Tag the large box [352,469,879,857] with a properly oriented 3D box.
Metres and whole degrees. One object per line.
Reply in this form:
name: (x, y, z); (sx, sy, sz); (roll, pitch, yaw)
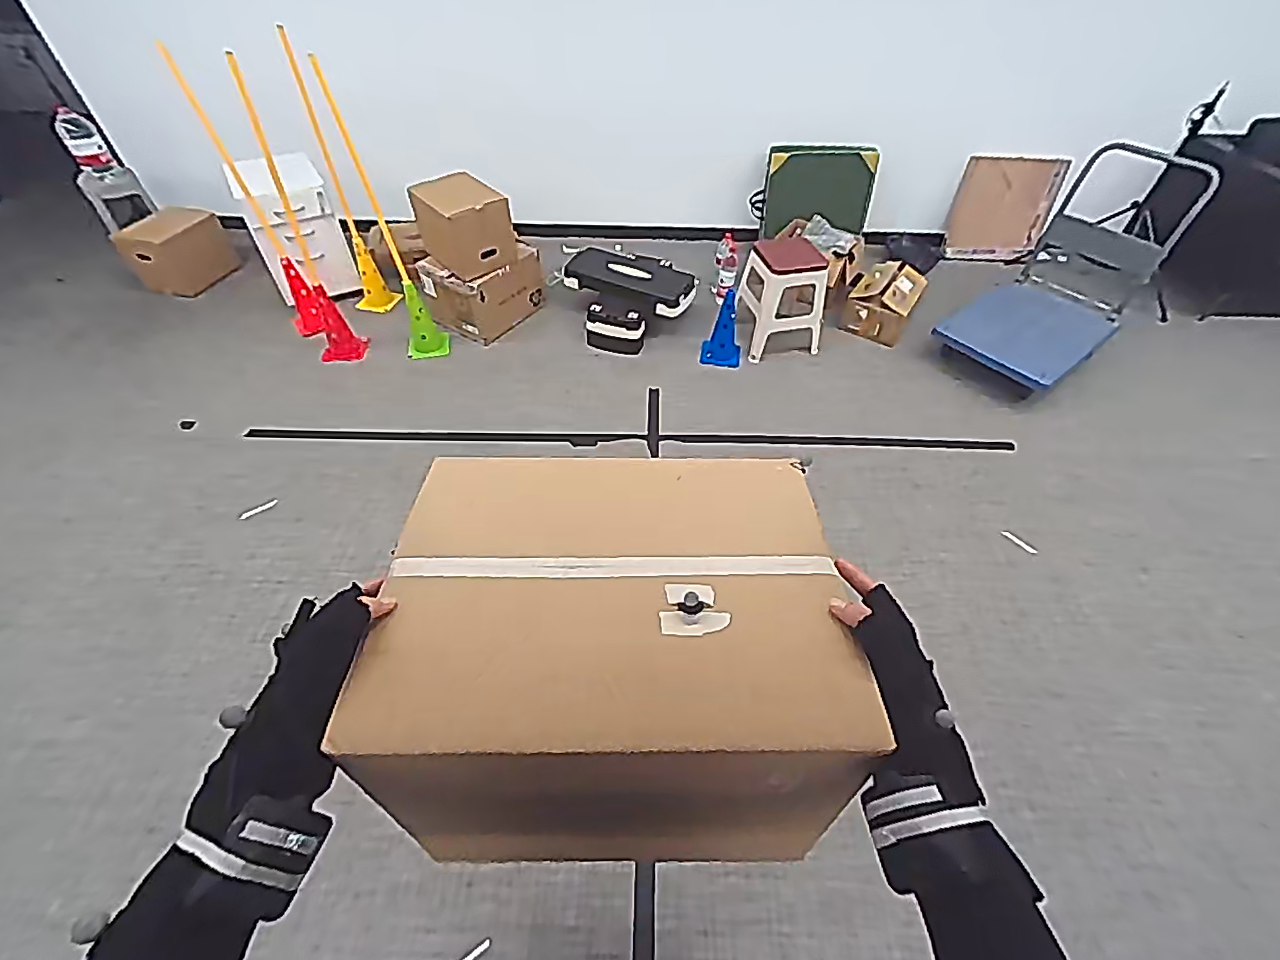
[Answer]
large box: (-0.022, 0.200, 0.609); (0.408, 0.320, 0.320); (1, 43, -1)
